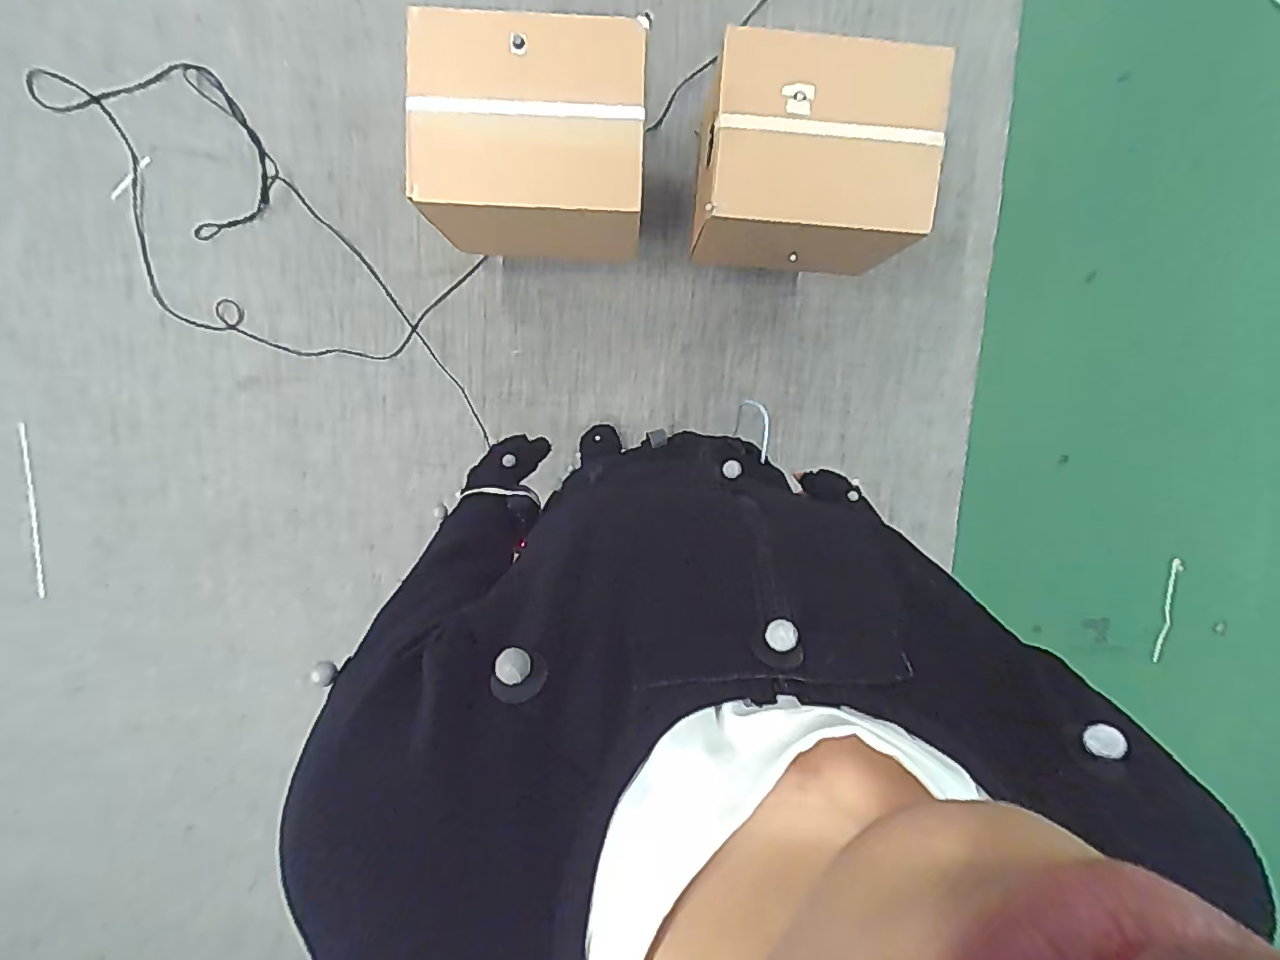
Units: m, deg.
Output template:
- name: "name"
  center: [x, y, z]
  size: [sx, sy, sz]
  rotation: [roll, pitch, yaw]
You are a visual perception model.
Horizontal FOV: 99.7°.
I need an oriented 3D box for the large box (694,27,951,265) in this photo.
- name: "large box"
  center: [0.336, -0.643, 1.105]
  size: [0.408, 0.320, 0.320]
  rotation: [4, 97, -2]
